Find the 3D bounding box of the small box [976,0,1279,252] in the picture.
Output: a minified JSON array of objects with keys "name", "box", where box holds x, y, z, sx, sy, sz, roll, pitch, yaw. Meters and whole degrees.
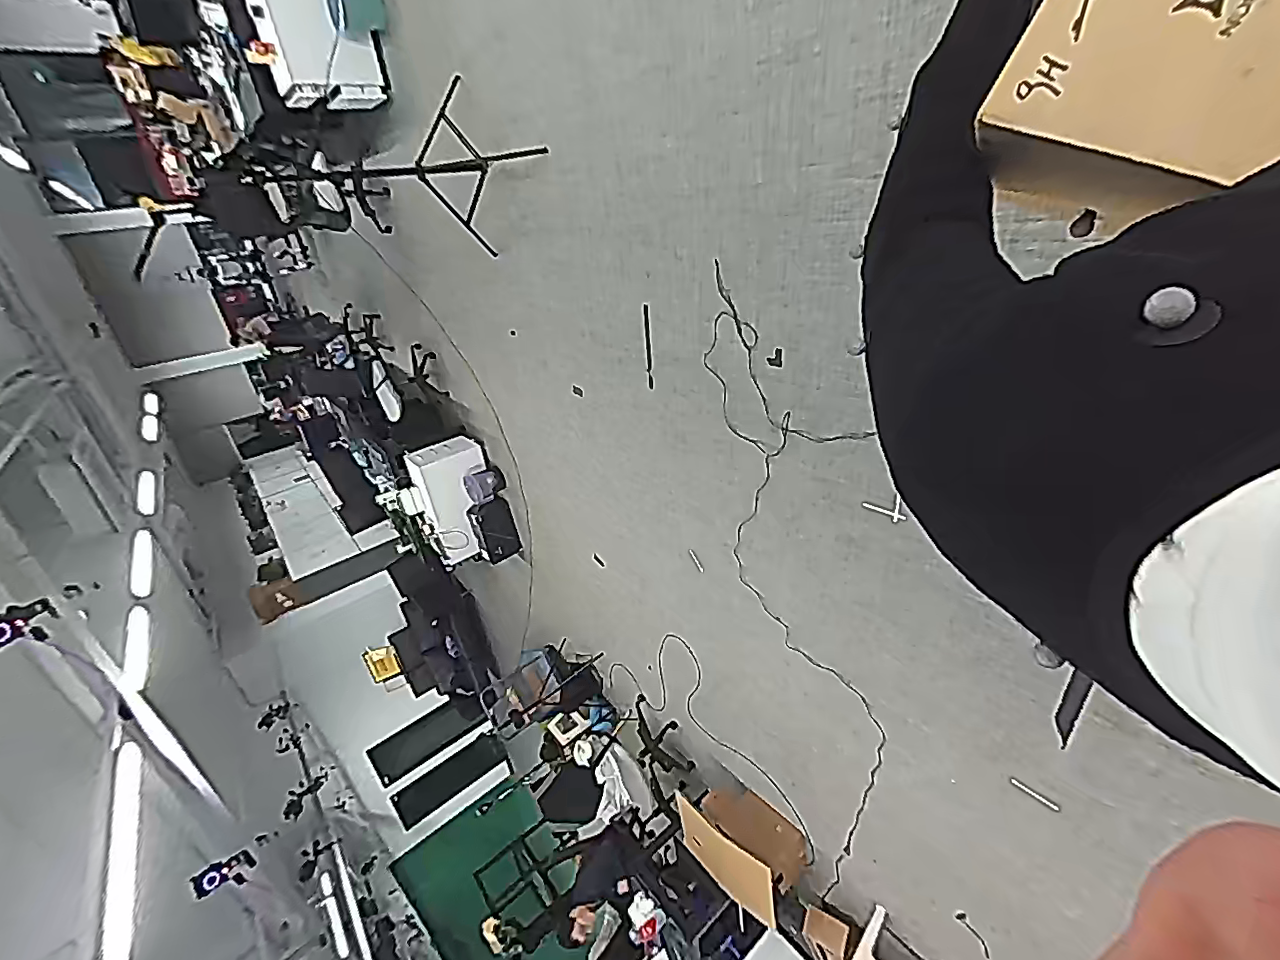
[{"name":"small box","box":[0.366,-0.273,0.366,0.179,0.176,0.168,36,115,24]}]
